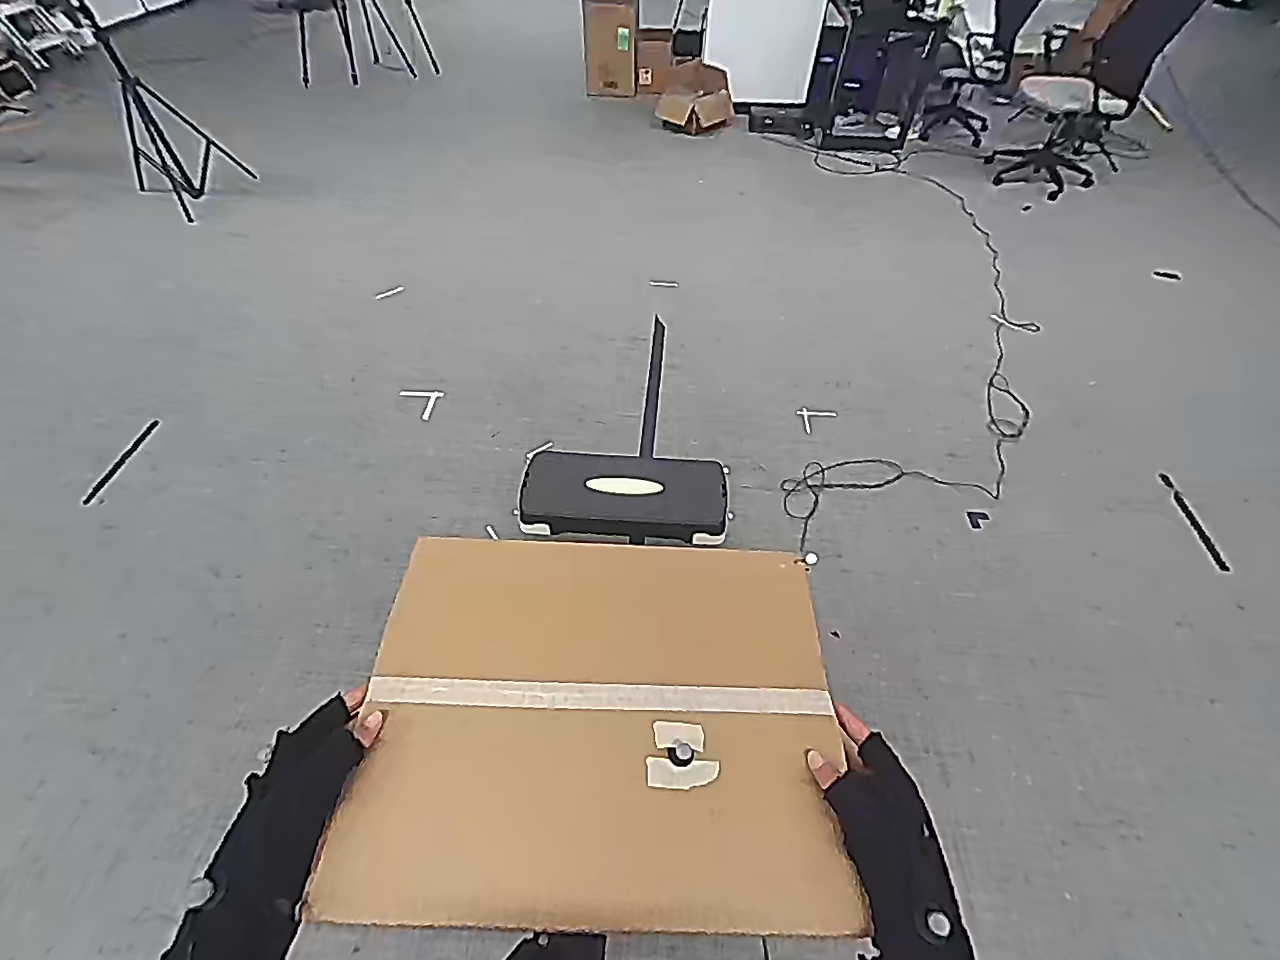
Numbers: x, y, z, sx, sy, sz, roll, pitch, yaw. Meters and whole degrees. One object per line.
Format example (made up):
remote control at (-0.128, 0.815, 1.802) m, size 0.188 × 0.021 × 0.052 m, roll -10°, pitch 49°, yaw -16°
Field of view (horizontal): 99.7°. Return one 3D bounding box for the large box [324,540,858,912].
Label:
large box at (-0.041, 0.283, 0.604) m, size 0.408 × 0.320 × 0.320 m, roll 3°, pitch 52°, yaw -2°
